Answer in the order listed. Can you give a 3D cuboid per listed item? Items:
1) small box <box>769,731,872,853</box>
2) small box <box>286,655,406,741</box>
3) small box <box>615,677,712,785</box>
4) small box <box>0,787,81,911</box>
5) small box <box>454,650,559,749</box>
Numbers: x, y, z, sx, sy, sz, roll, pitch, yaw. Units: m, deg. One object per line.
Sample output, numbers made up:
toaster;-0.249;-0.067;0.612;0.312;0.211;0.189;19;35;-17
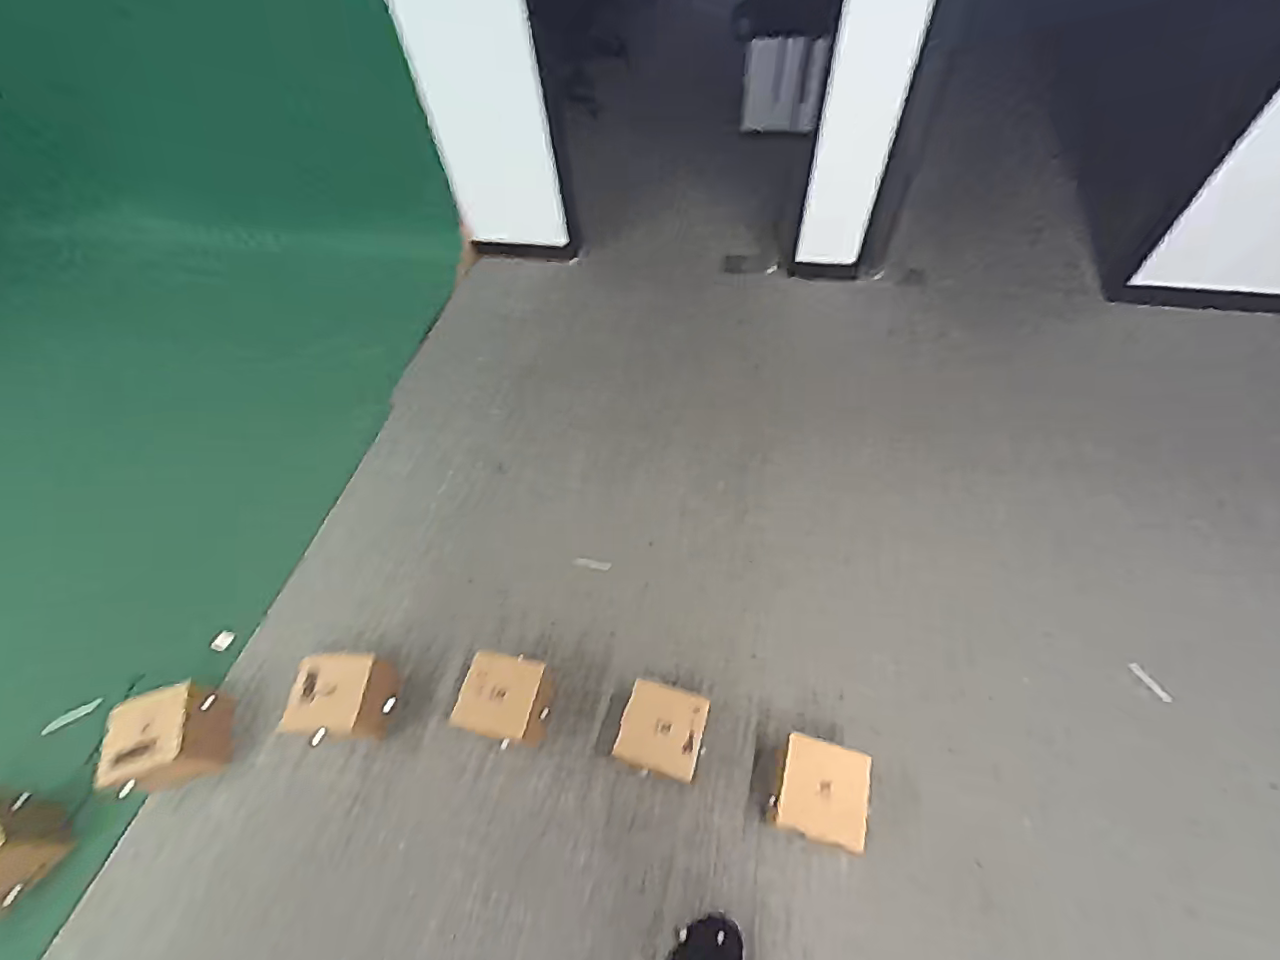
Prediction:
small box;0.378;0.663;1.149;0.168;0.176;0.179;13;58;13
small box;-0.705;0.535;1.320;0.179;0.176;0.168;-1;55;3
small box;0.058;0.576;1.232;0.179;0.176;0.168;13;58;14
small box;-1.407;0.813;1.184;0.179;0.176;0.168;30;63;23
small box;-0.308;0.529;1.293;0.179;0.176;0.168;9;56;11
